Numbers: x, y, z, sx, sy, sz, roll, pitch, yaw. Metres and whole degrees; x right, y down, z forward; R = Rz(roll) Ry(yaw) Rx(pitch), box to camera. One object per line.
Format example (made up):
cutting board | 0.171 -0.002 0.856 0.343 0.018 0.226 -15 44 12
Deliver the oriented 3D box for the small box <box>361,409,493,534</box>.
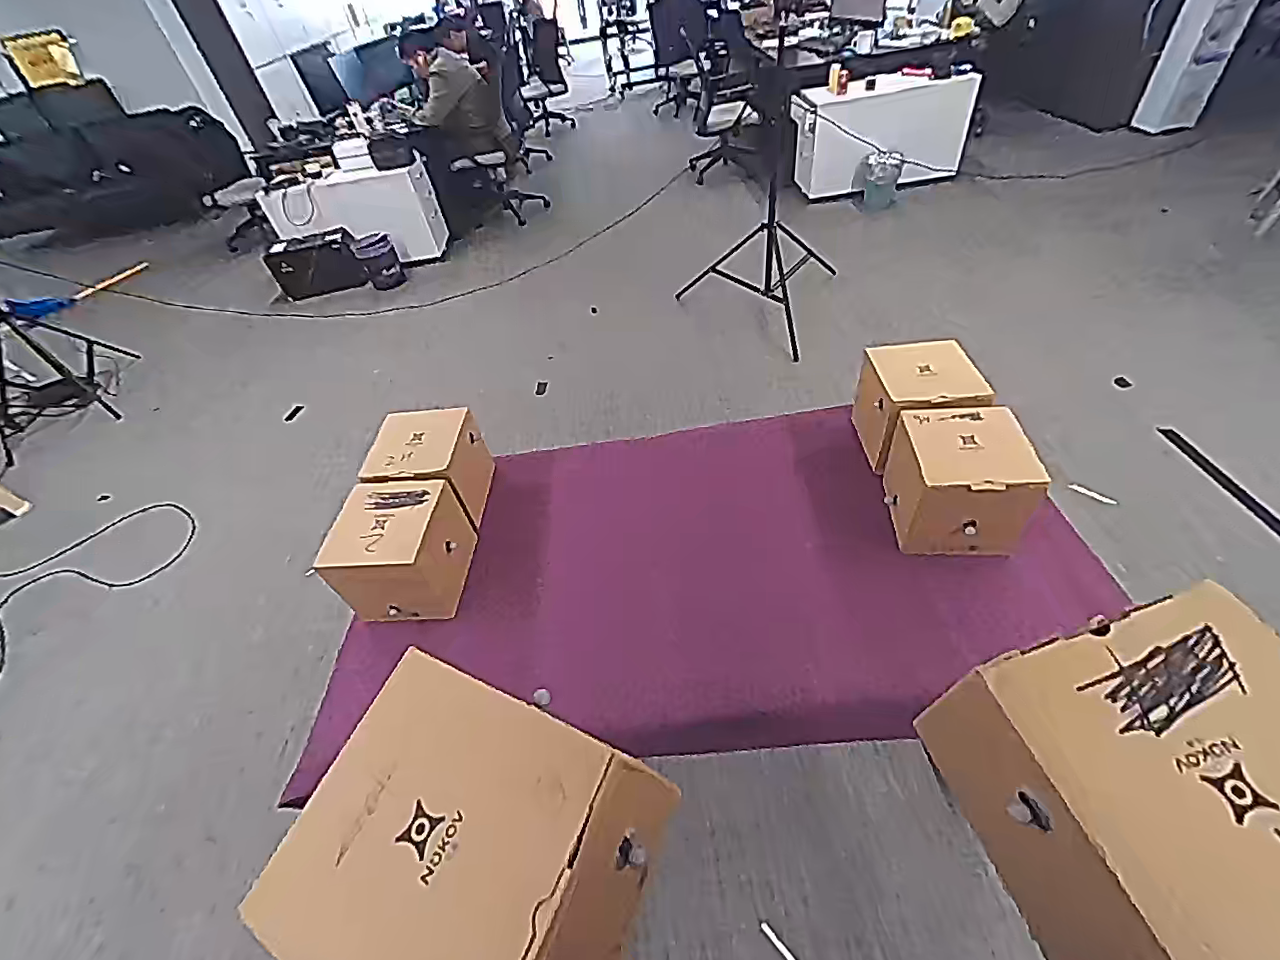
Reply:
small box | -0.400 -0.016 1.054 0.168 0.176 0.179 -4 46 6

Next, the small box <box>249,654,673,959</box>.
small box | -0.096 0.248 0.368 0.179 0.176 0.168 12 58 28

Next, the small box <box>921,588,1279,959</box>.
small box | 0.319 0.202 0.352 0.168 0.176 0.179 -20 55 -2

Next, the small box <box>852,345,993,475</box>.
small box | 0.511 -0.129 1.011 0.168 0.176 0.179 -4 45 5
